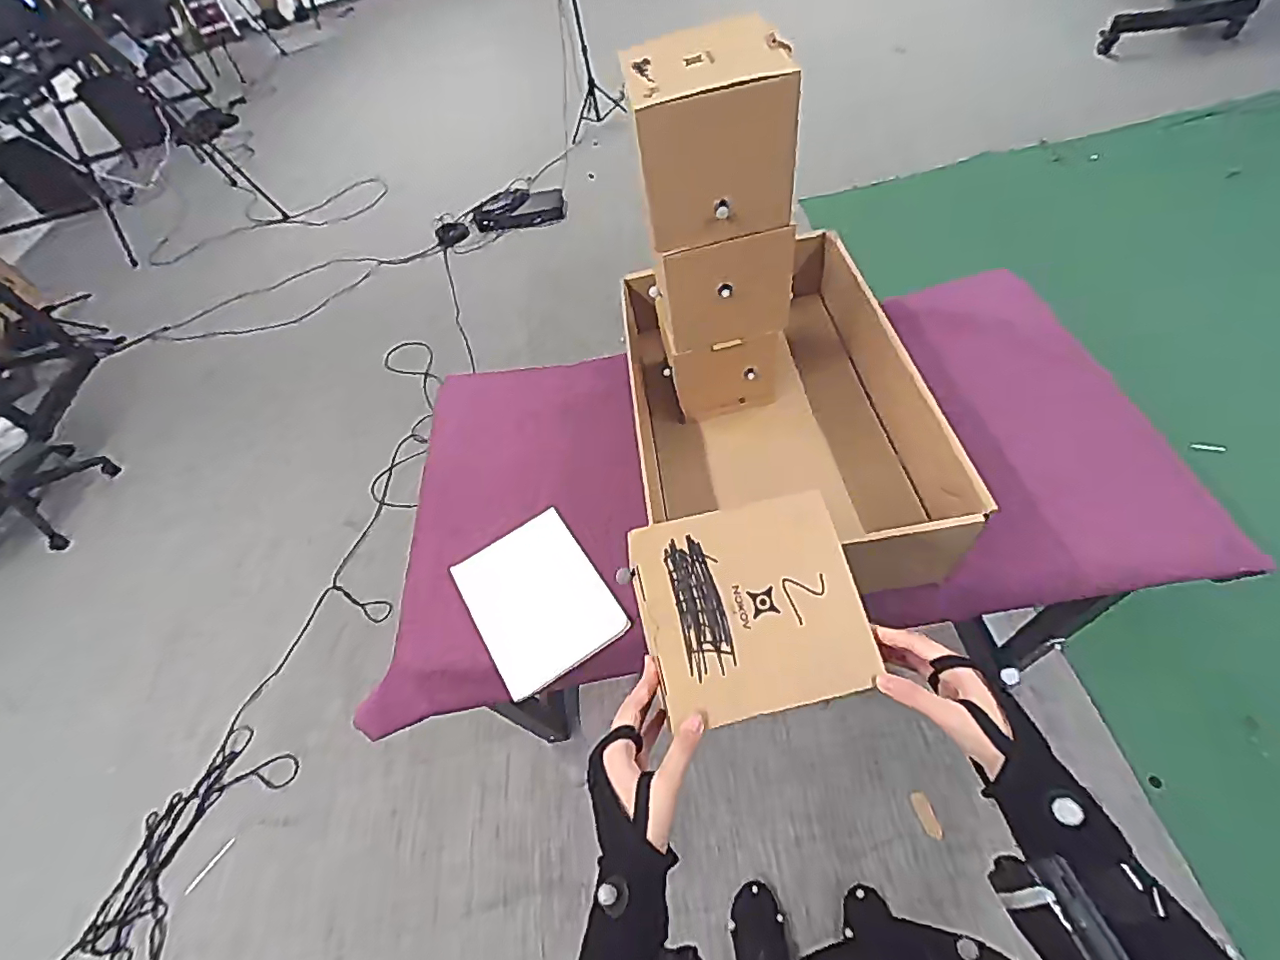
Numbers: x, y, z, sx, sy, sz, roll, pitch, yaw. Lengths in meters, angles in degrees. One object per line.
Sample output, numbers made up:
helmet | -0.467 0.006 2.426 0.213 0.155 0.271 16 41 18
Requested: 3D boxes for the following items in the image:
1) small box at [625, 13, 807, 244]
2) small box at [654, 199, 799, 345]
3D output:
small box | 0.086 -0.418 0.655 0.179 0.176 0.168 -10 55 3
small box | 0.115 -0.325 0.787 0.179 0.176 0.168 -13 55 3
